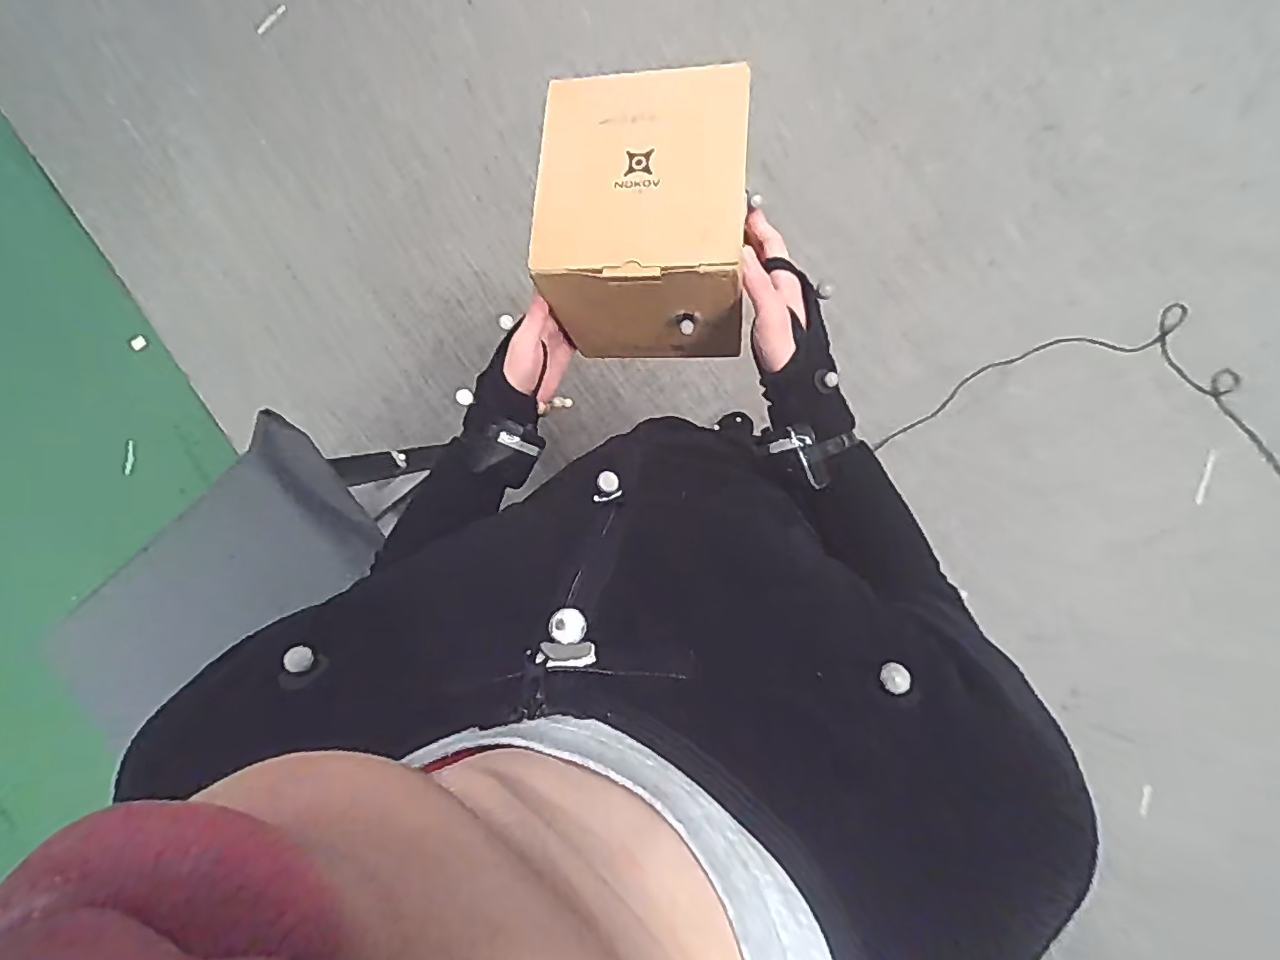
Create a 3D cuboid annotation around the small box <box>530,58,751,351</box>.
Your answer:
[{"bbox_3d":[0.013,-0.228,0.493,0.168,0.176,0.179,2,80,9],"label":"small box"}]
